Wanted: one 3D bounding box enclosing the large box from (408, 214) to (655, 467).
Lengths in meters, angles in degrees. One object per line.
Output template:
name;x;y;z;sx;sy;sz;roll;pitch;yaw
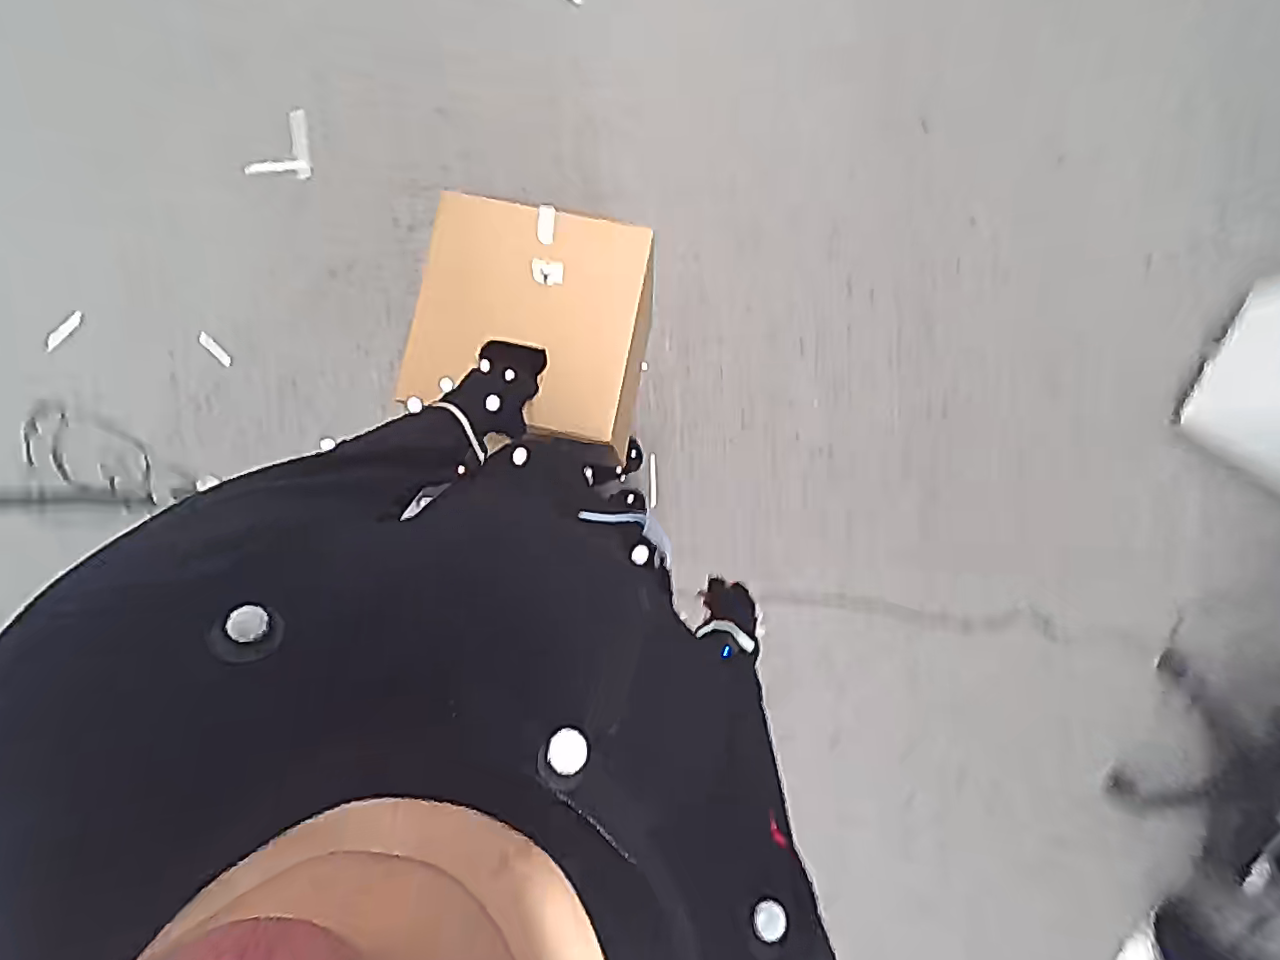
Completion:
large box;-0.150;-0.211;0.965;0.320;0.408;0.320;11;88;3
